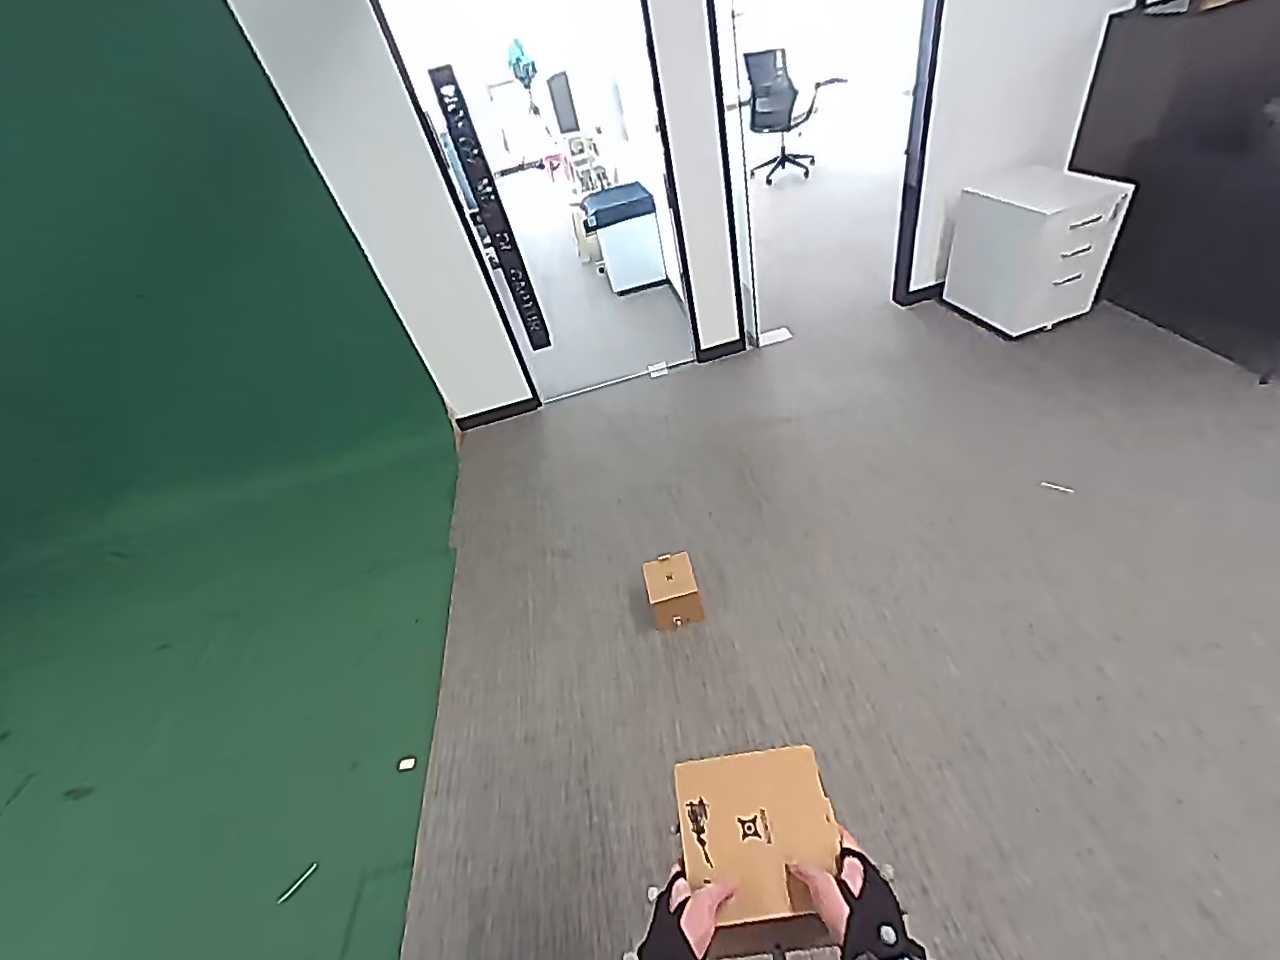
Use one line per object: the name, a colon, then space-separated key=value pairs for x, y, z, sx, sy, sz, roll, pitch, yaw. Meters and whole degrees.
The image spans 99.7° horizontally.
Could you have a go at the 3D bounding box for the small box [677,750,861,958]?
small box: x=0.145 y=0.457 z=0.662 sx=0.179 sy=0.176 sz=0.168 roll=-8 pitch=39 yaw=2

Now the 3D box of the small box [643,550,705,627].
small box: x=0.116 y=0.371 z=1.846 sx=0.168 sy=0.176 sz=0.179 roll=-15 pitch=41 yaw=4
